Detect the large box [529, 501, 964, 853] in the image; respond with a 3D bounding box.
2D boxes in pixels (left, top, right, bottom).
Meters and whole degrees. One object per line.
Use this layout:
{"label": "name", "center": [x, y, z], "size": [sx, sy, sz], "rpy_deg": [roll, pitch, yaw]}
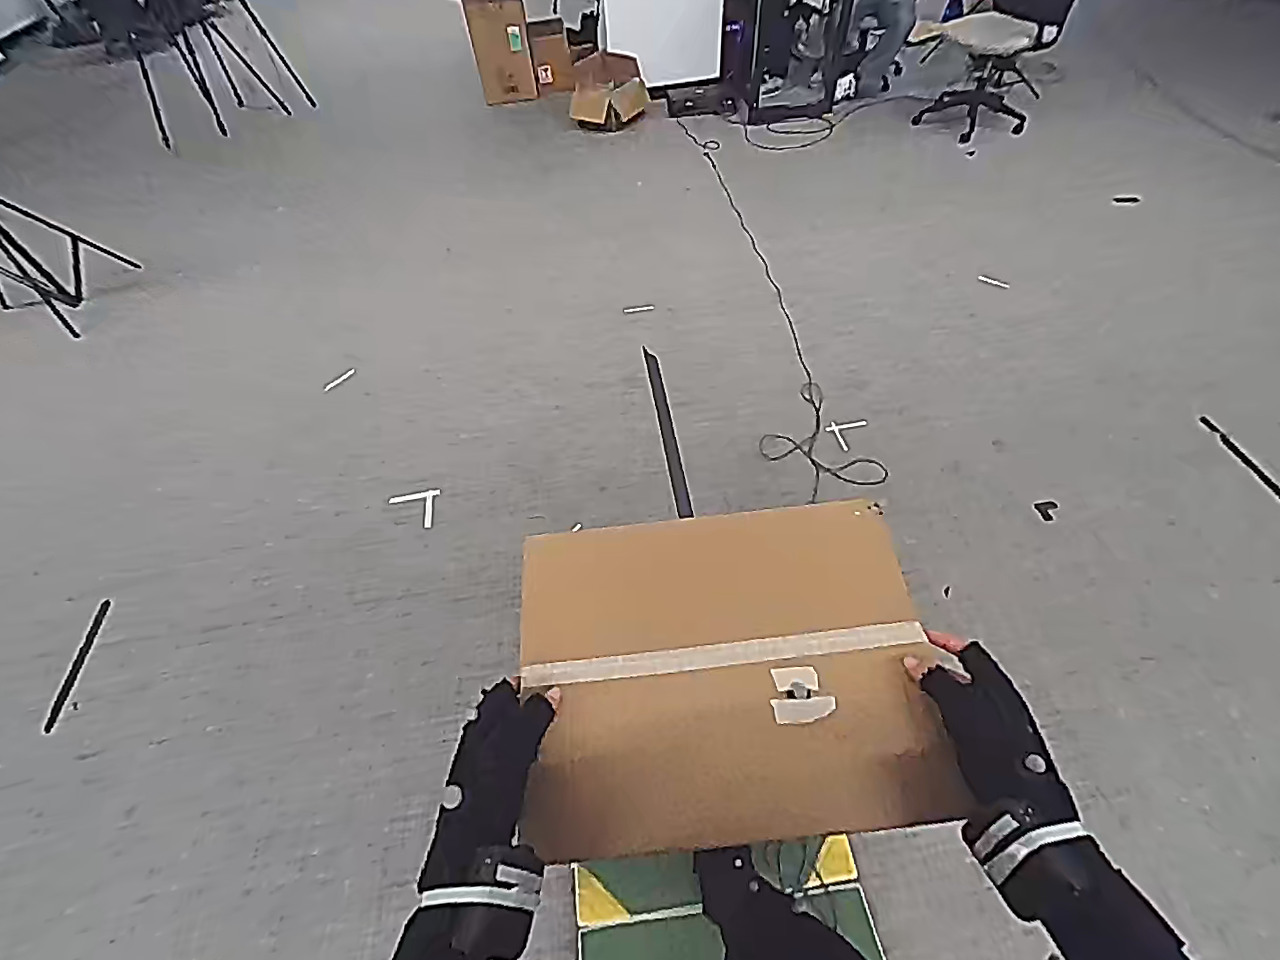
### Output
{"label": "large box", "center": [0.088, 0.257, 0.688], "size": [0.408, 0.320, 0.320], "rpy_deg": [-7, 58, -1]}
